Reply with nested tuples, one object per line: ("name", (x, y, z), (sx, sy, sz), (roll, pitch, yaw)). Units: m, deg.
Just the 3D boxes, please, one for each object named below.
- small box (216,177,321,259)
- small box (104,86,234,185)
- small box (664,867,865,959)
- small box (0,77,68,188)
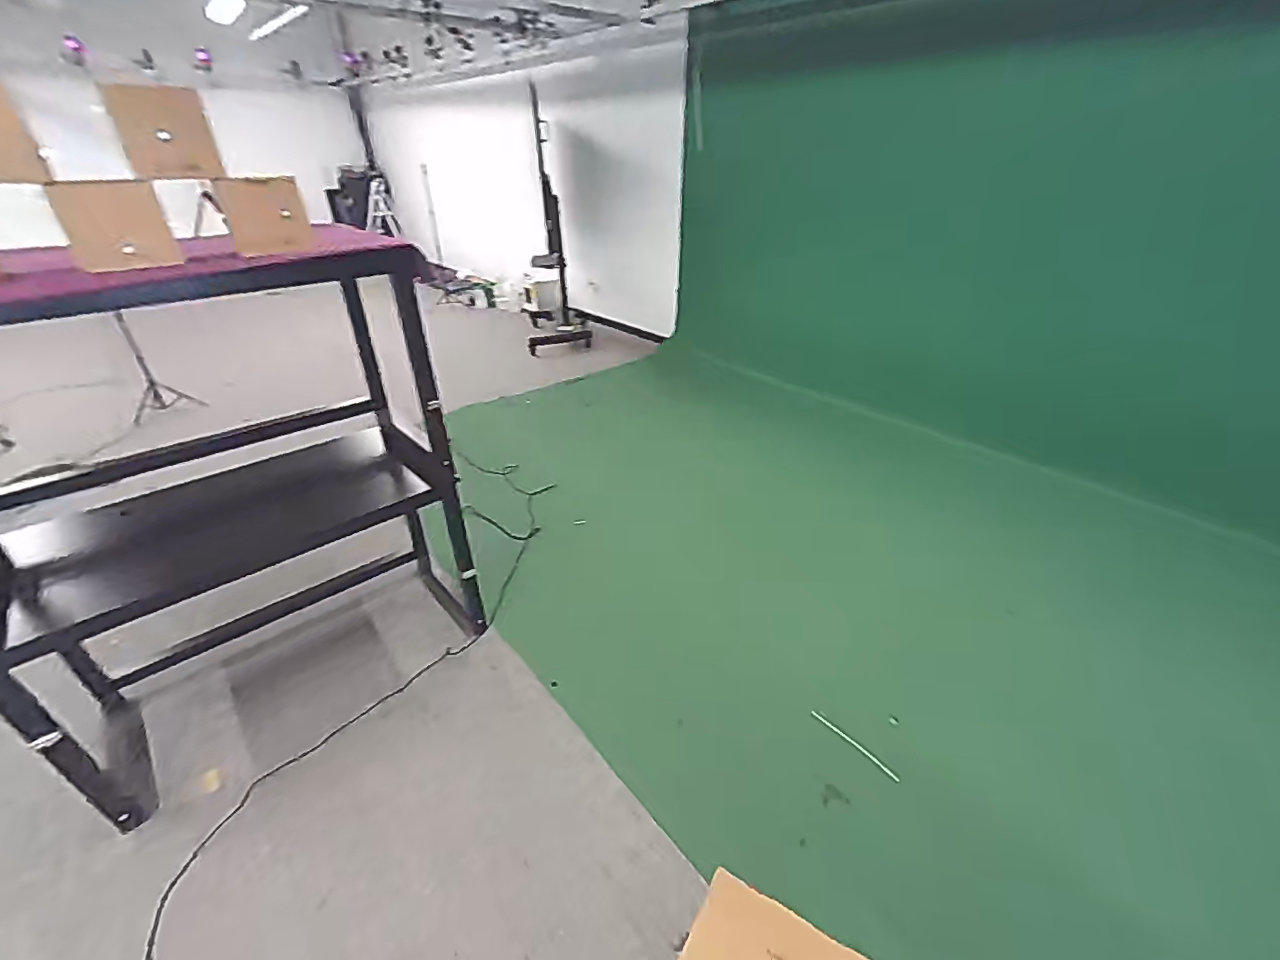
("small box", (-0.910, -0.645, 1.330), (0.168, 0.176, 0.179), (-22, 36, -31))
("small box", (-1.013, -0.742, 1.174), (0.168, 0.176, 0.179), (-21, 37, -32))
("small box", (0.089, 0.500, 0.465), (0.168, 0.176, 0.179), (19, -1, 23))
("small box", (-1.231, -0.641, 1.006), (0.179, 0.176, 0.168), (-22, 37, -34))
